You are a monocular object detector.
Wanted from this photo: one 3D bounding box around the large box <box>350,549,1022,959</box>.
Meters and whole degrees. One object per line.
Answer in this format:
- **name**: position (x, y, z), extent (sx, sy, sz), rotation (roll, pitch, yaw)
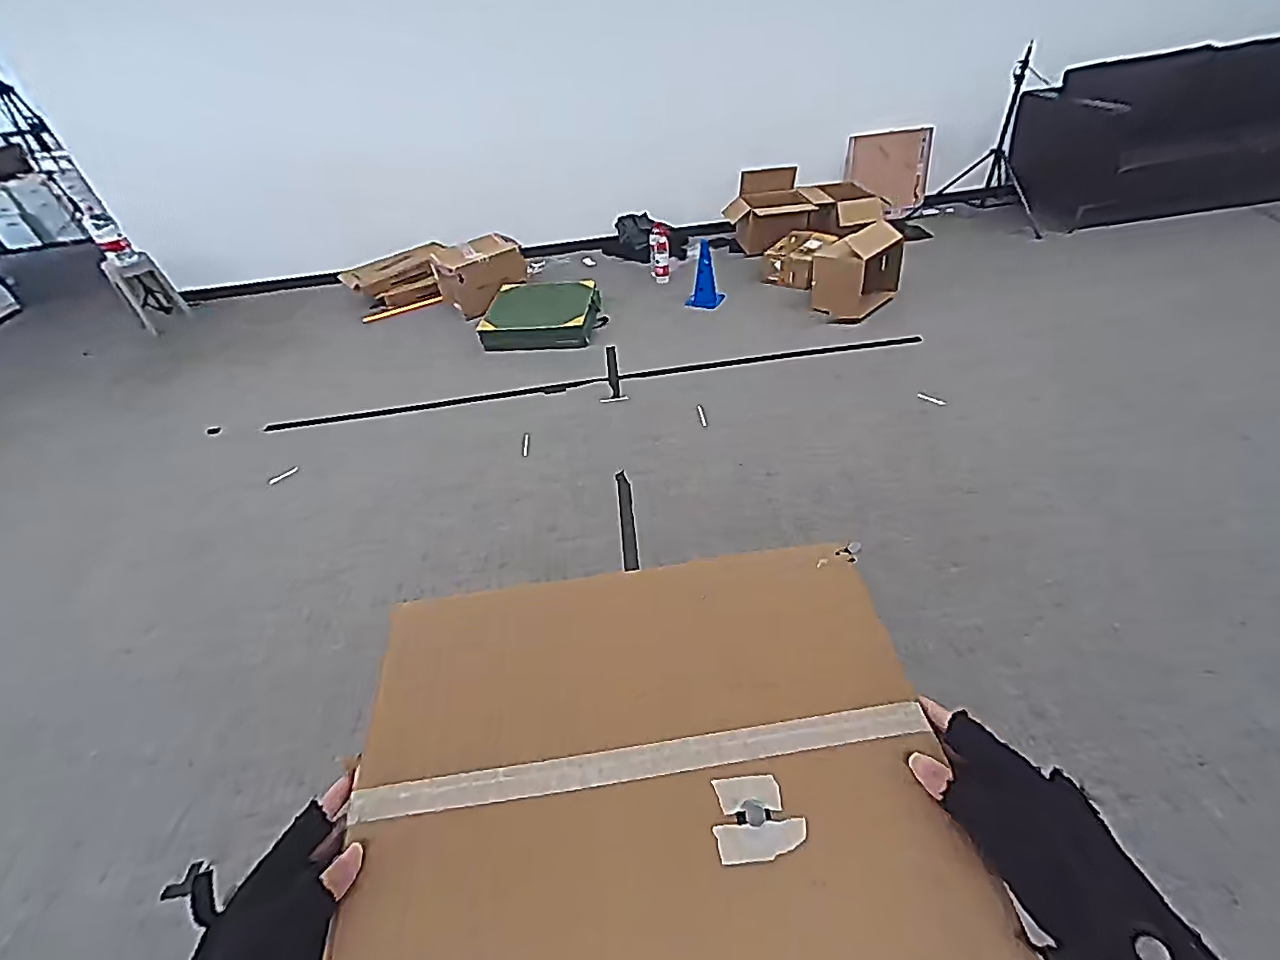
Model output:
- **large box**: position (0.013, 0.303, 0.507), extent (0.408, 0.320, 0.320), rotation (-7, 49, -3)
